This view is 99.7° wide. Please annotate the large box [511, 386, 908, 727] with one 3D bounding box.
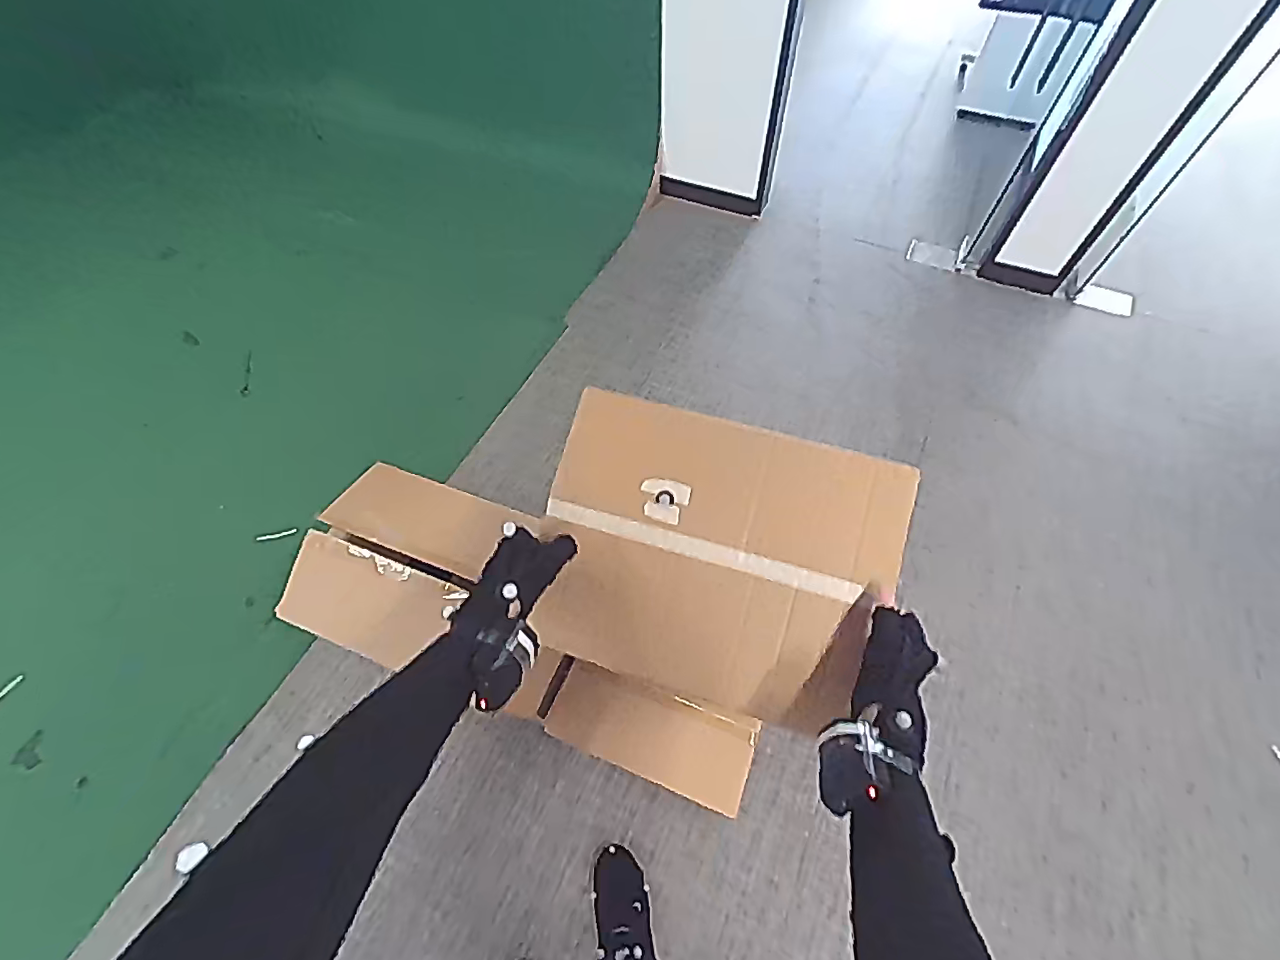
[{"bbox_3d":[0.097,0.093,0.764,0.408,0.320,0.320,14,83,11],"label":"large box"}]
